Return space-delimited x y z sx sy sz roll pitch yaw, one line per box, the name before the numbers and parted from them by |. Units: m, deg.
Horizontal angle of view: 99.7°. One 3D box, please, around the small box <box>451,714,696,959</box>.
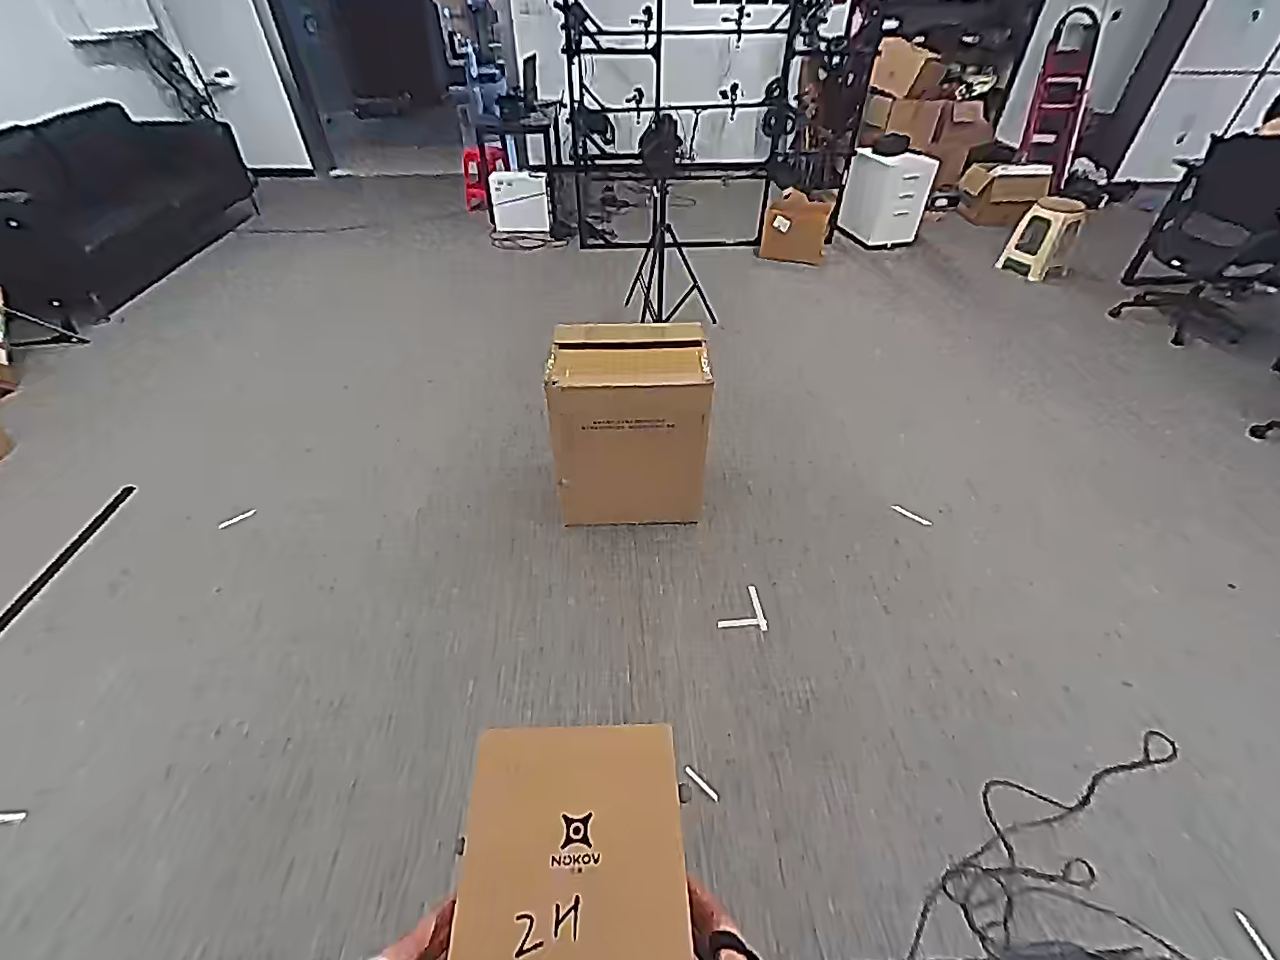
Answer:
small box | -0.052 0.325 0.468 0.168 0.176 0.179 0 44 -5
